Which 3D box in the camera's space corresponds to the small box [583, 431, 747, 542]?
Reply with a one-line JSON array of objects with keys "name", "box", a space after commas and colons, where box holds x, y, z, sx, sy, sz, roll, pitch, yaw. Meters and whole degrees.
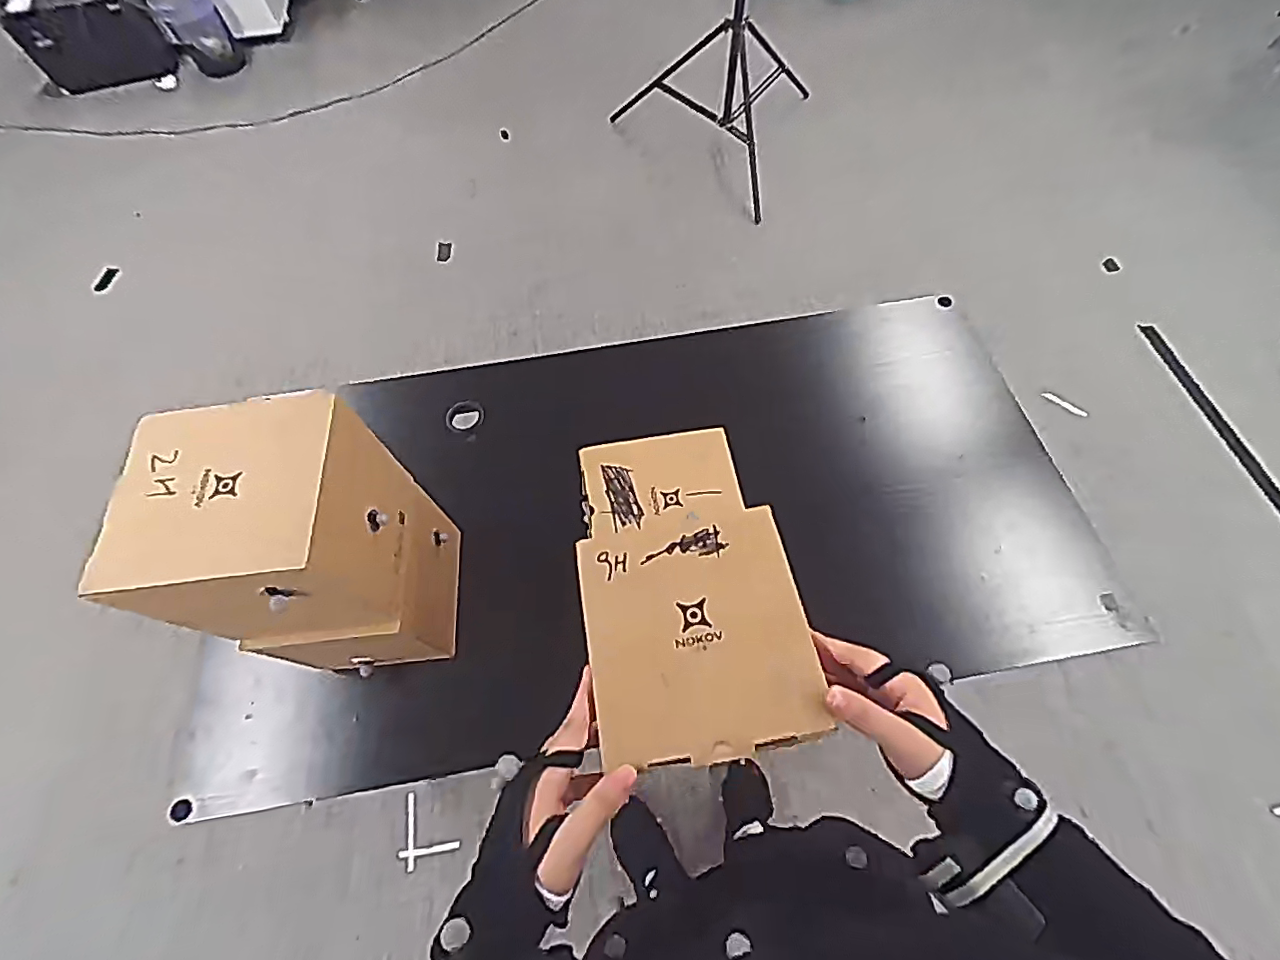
[{"name": "small box", "box": [0.032, 0.061, 0.675, 0.179, 0.176, 0.168, -8, 63, -3]}]

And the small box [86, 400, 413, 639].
[{"name": "small box", "box": [-0.336, 0.046, 0.513, 0.179, 0.176, 0.168, -7, 62, 0]}]

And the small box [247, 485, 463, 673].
[{"name": "small box", "box": [-0.324, 0.126, 0.658, 0.168, 0.176, 0.179, -7, 64, -1]}]

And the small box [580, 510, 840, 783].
[{"name": "small box", "box": [0.051, 0.149, 0.474, 0.168, 0.176, 0.179, -11, 63, 0]}]
